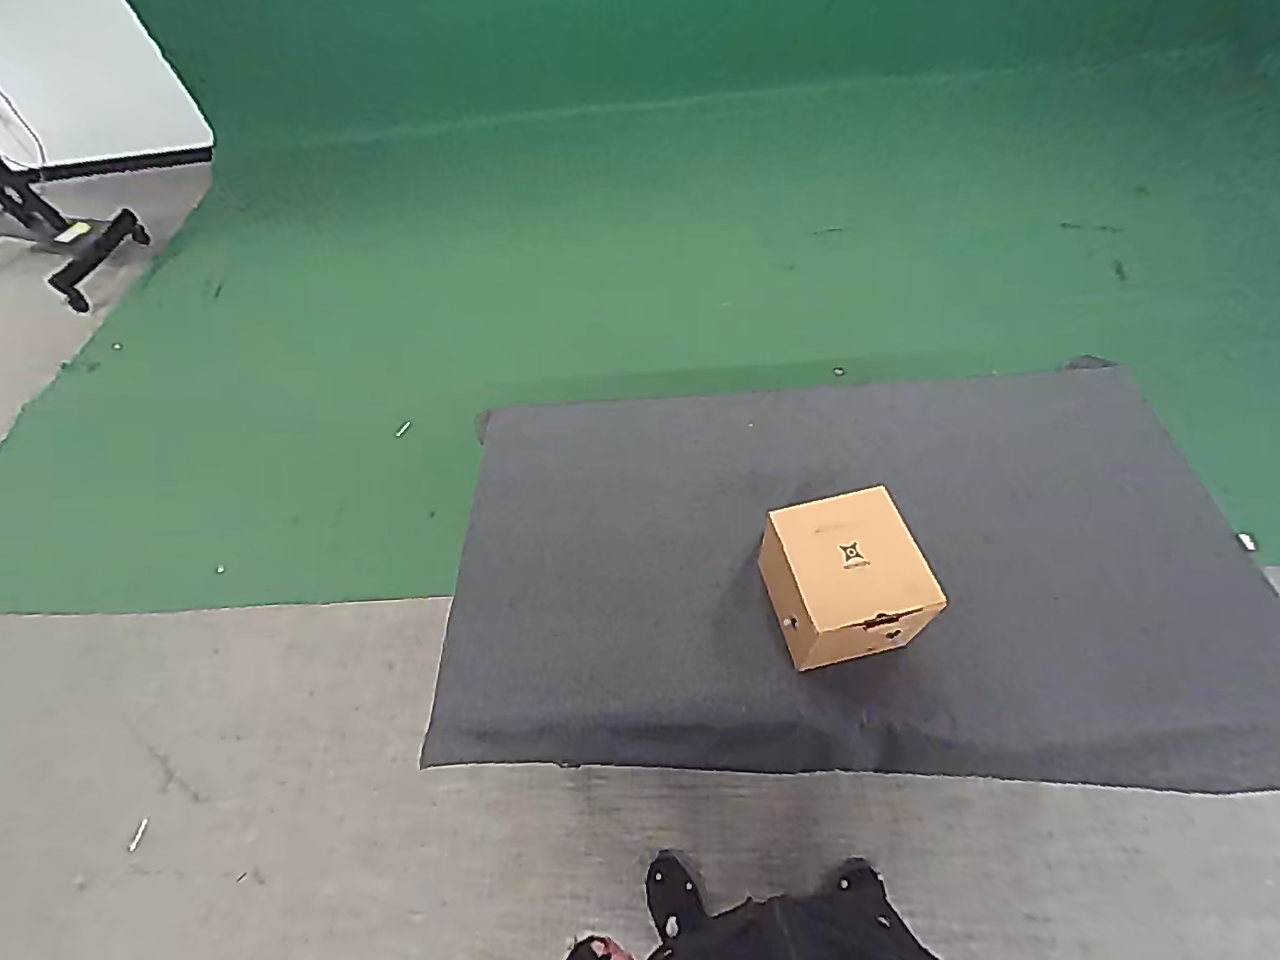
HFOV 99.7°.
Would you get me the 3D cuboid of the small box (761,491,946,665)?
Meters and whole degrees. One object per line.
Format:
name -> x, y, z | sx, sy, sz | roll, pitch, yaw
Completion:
small box -> 0.281, 0.145, 0.758 | 0.168, 0.176, 0.179 | -12, 55, -3
